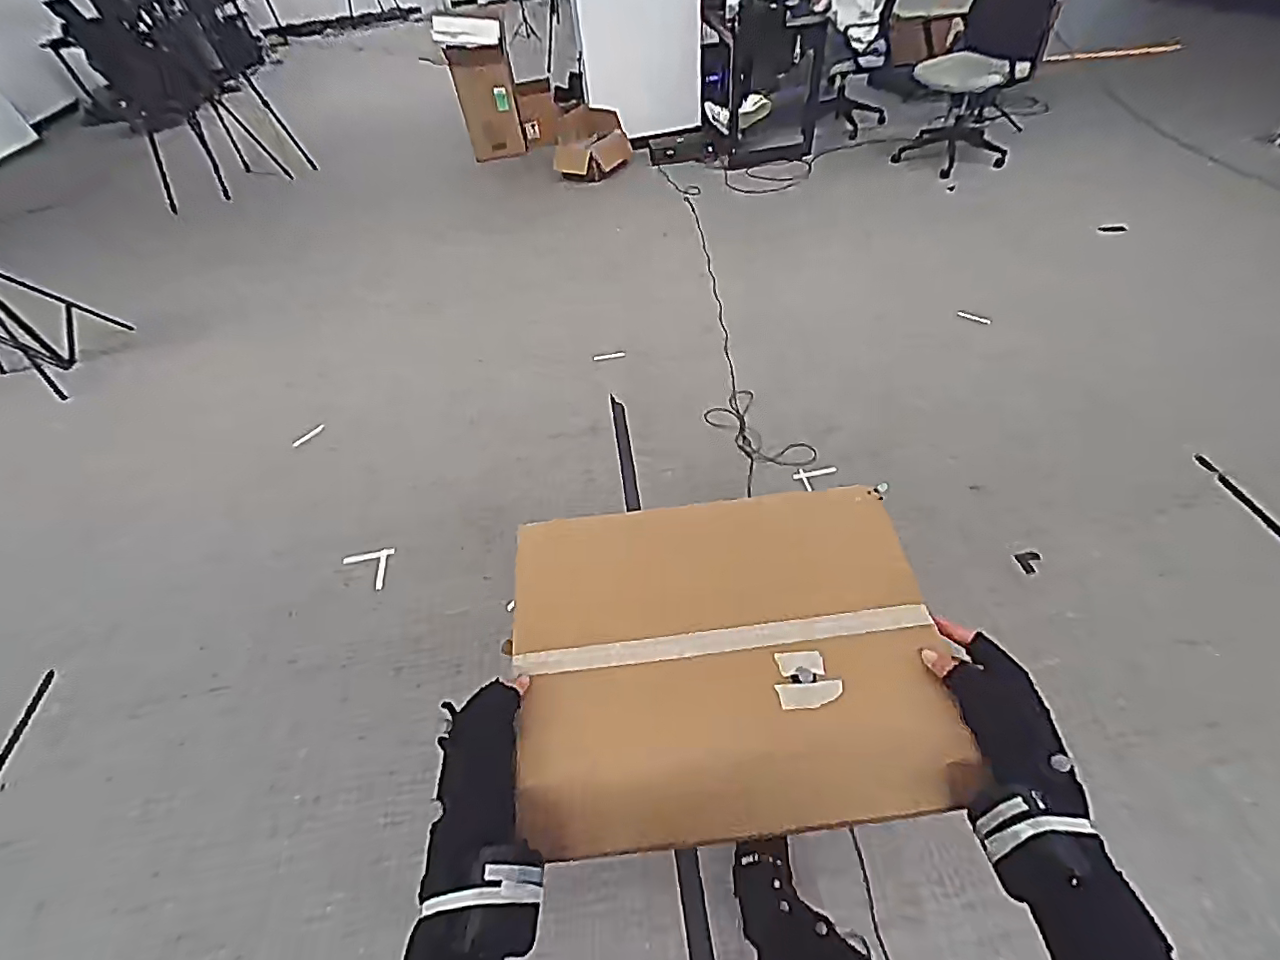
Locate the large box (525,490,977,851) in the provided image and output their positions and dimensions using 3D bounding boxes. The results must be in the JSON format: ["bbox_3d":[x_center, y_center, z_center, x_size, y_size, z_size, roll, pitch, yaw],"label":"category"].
[{"bbox_3d":[0.087,0.245,0.669,0.408,0.320,0.320,-7,56,-2],"label":"large box"}]
